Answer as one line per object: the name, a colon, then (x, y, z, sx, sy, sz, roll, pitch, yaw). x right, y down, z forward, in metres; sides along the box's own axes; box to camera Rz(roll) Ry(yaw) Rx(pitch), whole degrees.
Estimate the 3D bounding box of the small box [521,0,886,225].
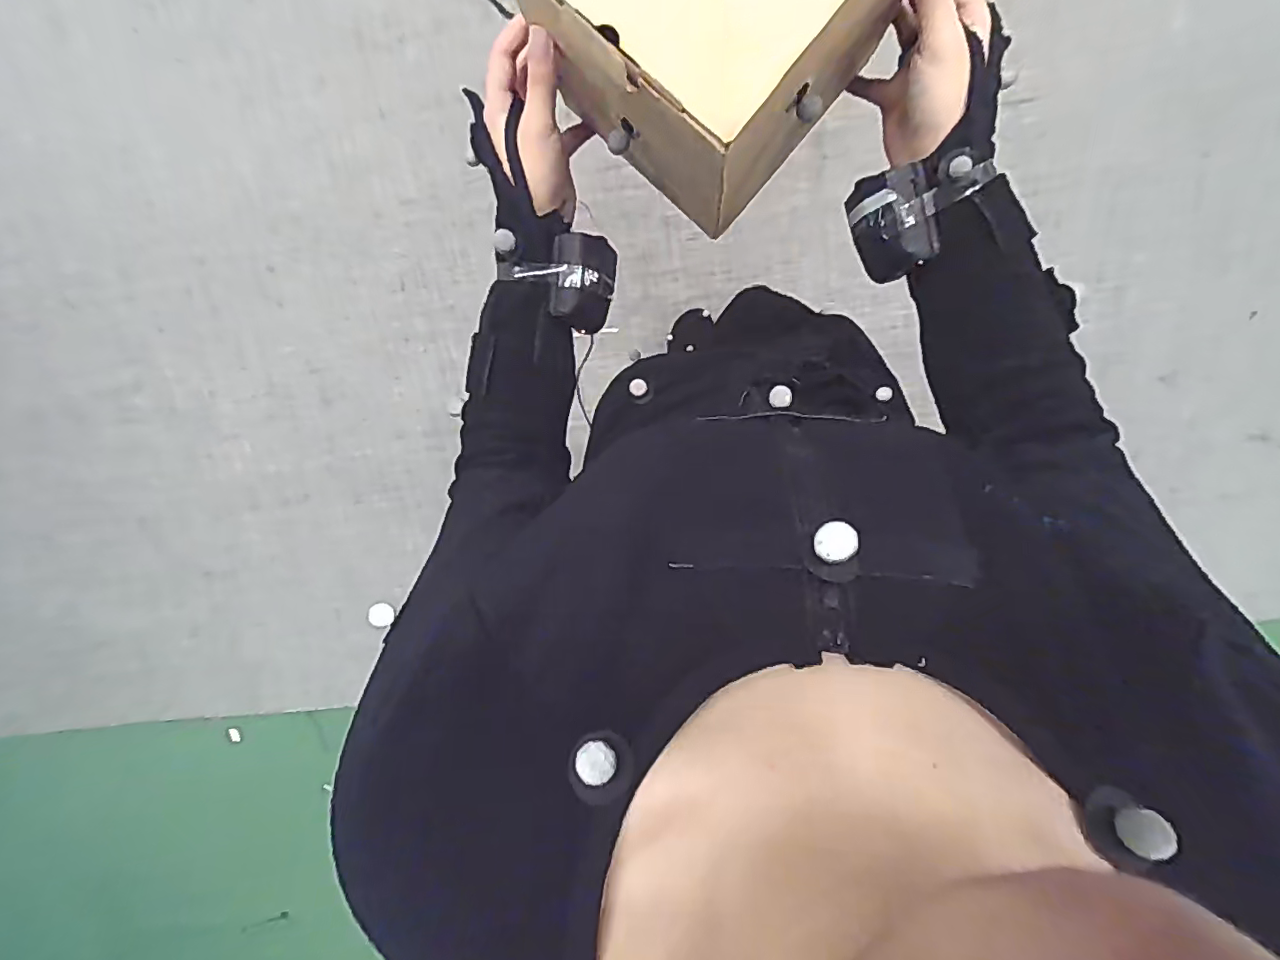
small box: (0.047, -0.301, 0.345, 0.168, 0.176, 0.179, 42, 101, -1)
